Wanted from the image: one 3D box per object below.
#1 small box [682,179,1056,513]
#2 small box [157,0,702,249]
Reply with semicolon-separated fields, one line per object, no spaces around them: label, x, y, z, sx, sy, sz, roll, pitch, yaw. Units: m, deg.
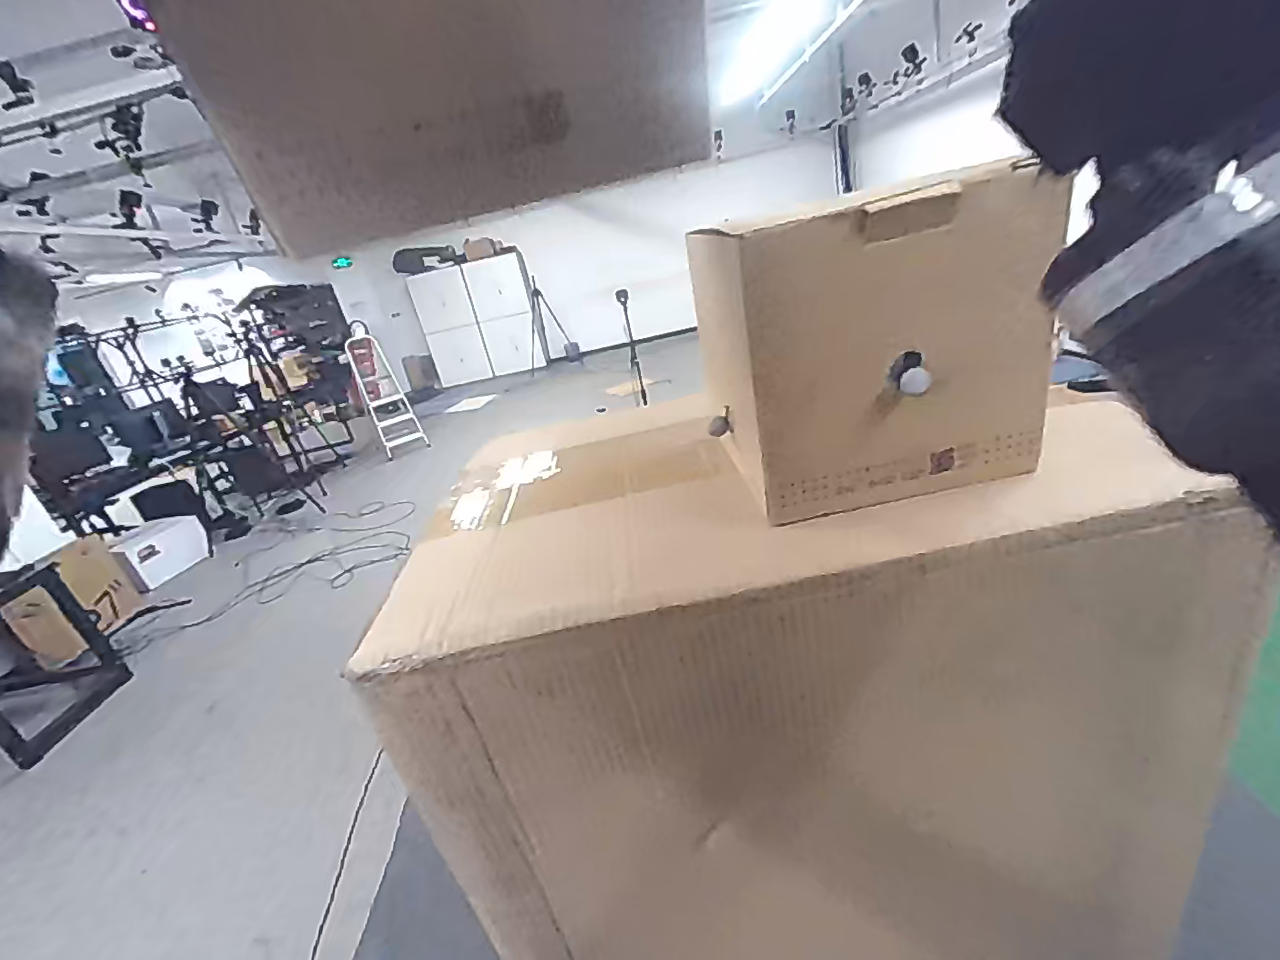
small box;0.133;-0.090;0.370;0.168;0.176;0.179;-12;26;1
small box;-0.080;-0.208;0.220;0.168;0.176;0.179;-16;39;-7
